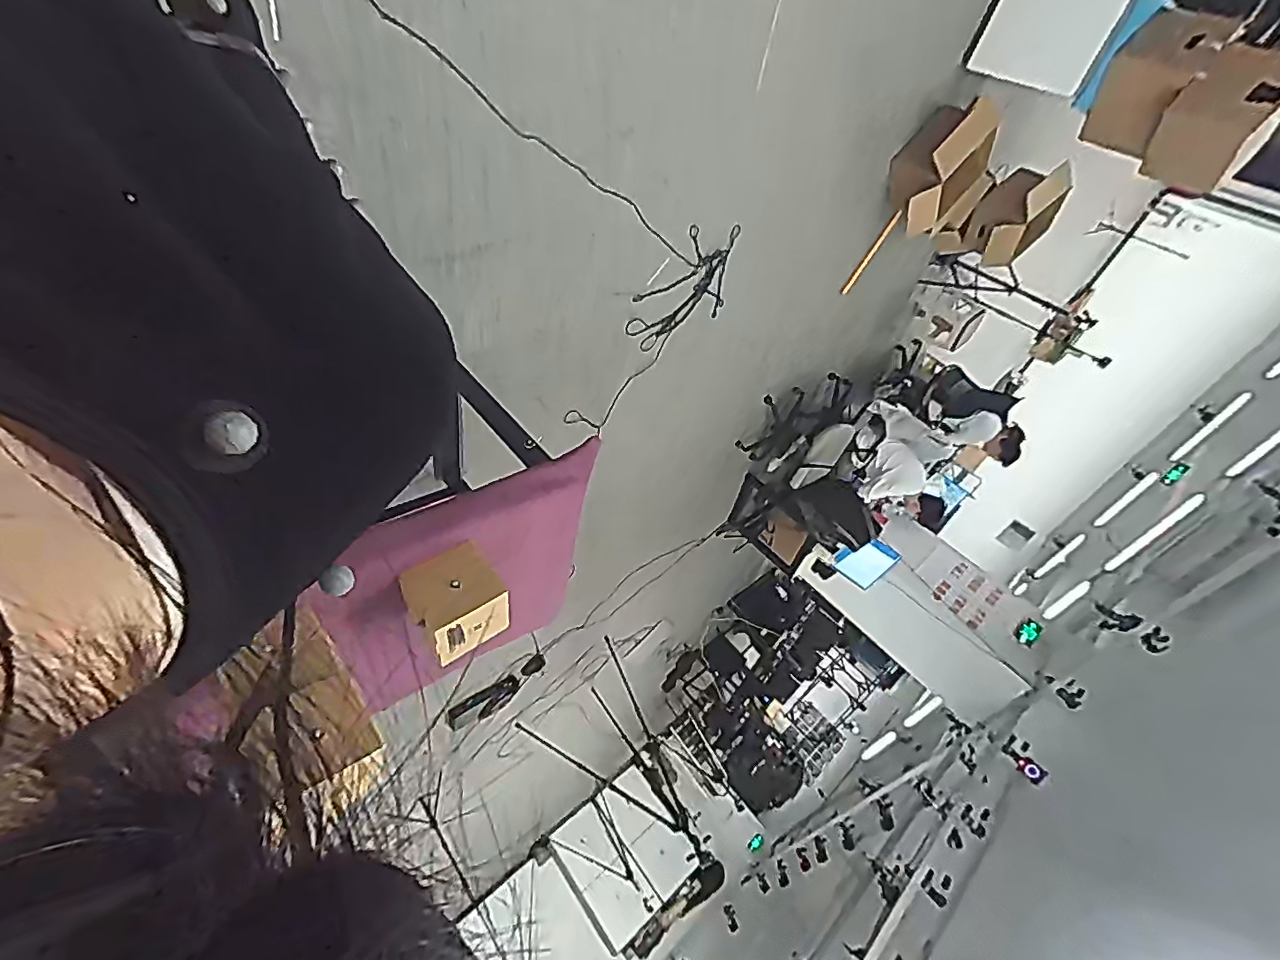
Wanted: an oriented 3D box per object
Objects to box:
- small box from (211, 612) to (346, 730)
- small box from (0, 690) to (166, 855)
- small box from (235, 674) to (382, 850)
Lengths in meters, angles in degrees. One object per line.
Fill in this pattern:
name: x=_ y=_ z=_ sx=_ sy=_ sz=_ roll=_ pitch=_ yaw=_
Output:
small box: x=-0.668 y=0.384 z=1.029 sx=0.168 sy=0.176 sz=0.179 roll=-29 pitch=149 yaw=-31
small box: x=-0.883 y=0.470 z=0.841 sx=0.179 sy=0.176 sz=0.168 roll=-28 pitch=147 yaw=-33
small box: x=-0.570 y=0.475 z=0.930 sx=0.179 sy=0.176 sz=0.168 roll=-20 pitch=144 yaw=-43
